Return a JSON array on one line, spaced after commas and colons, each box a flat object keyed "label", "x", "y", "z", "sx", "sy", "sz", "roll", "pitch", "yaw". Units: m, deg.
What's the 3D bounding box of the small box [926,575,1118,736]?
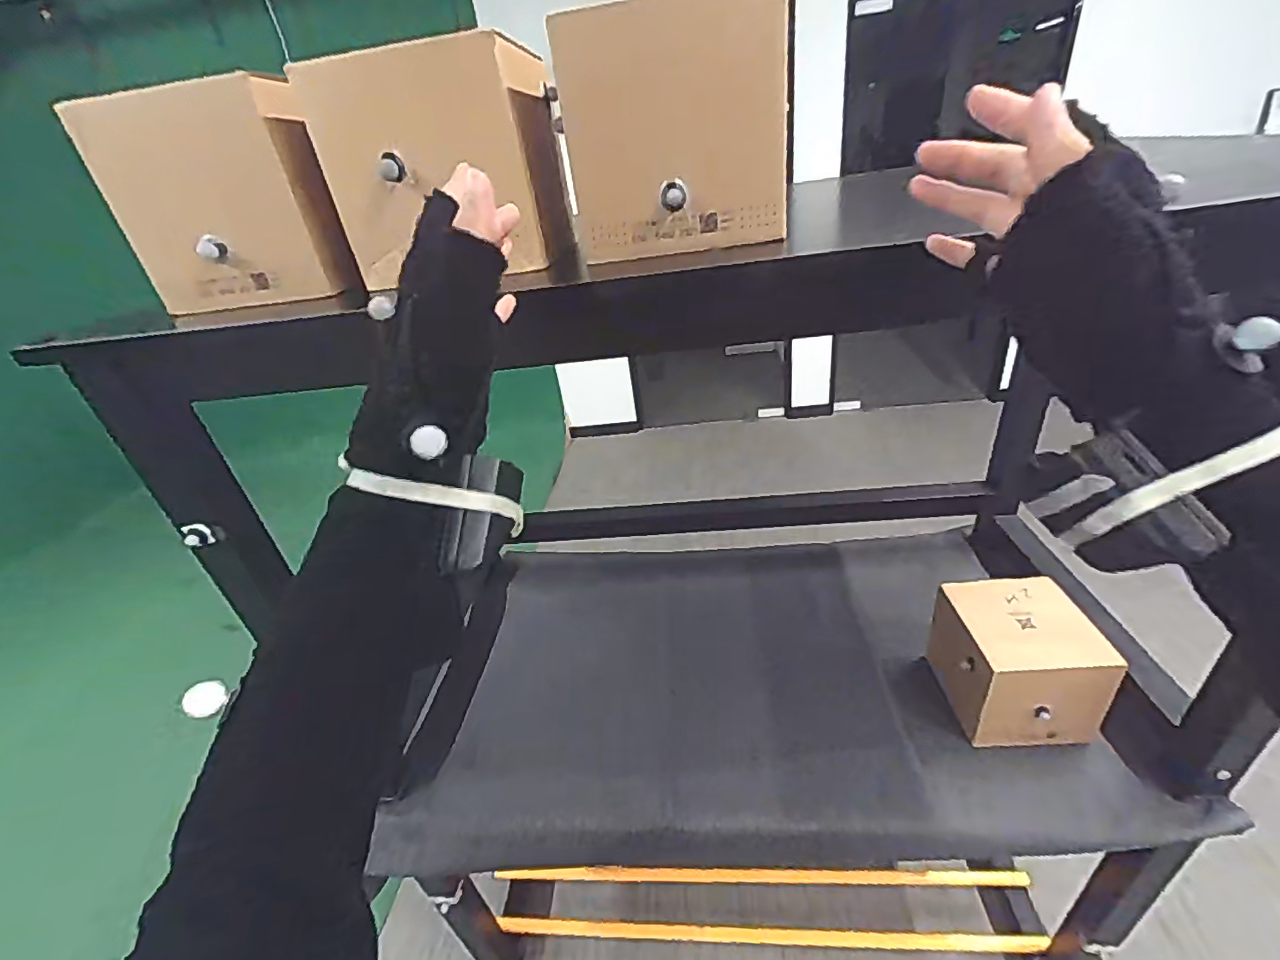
[{"label": "small box", "x": 0.561, "y": 0.269, "z": 0.823, "sx": 0.168, "sy": 0.176, "sz": 0.179, "roll": -5, "pitch": 30, "yaw": 6}]

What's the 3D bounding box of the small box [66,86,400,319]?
[{"label": "small box", "x": -0.364, "y": -0.267, "z": 0.532, "sx": 0.168, "sy": 0.176, "sz": 0.179, "roll": -5, "pitch": 32, "yaw": 6}]
